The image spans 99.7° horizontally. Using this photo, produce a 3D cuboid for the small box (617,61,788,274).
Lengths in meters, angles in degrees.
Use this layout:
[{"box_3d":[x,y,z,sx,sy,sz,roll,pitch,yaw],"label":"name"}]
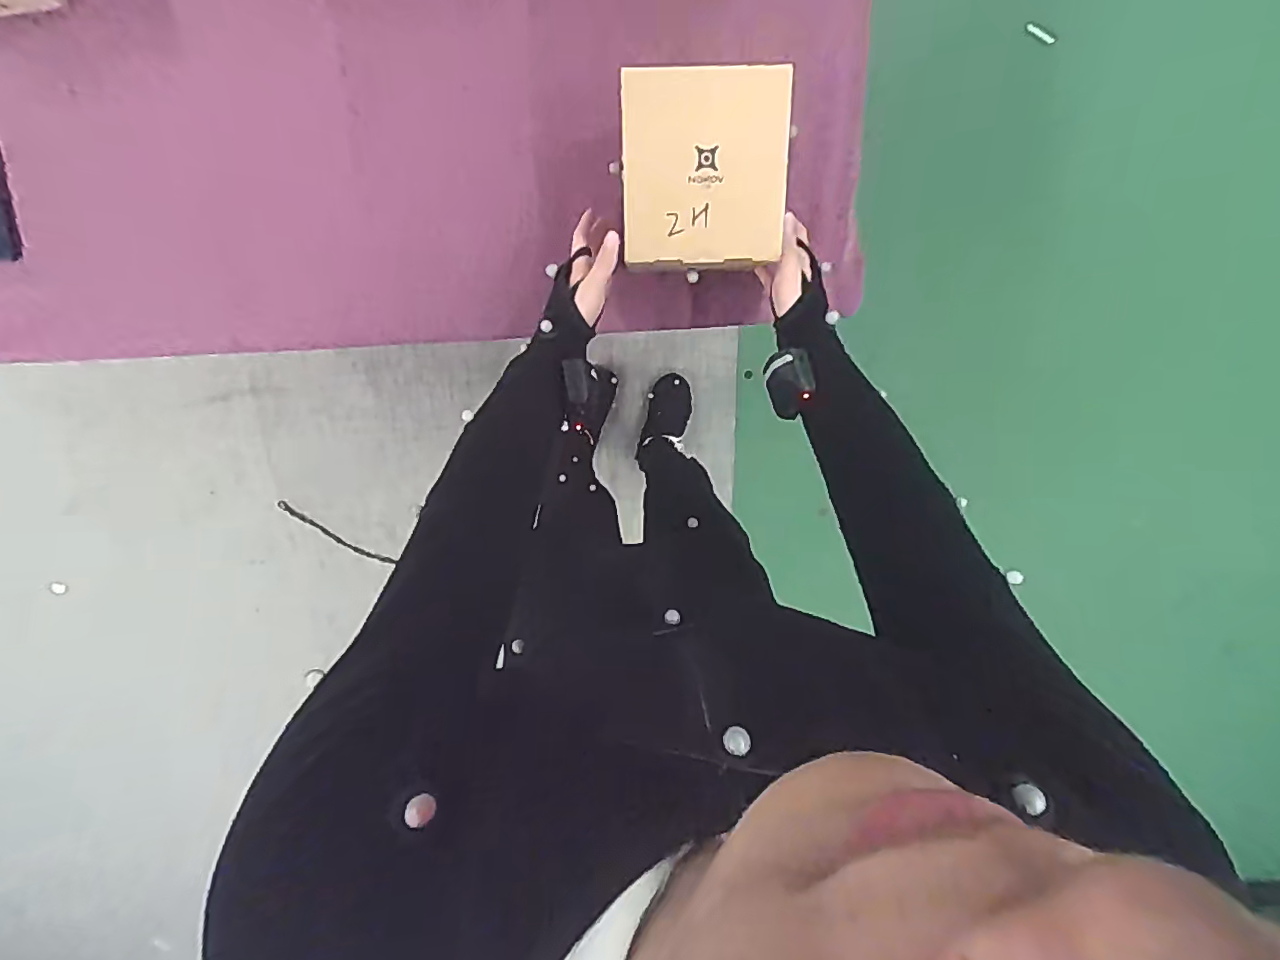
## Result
[{"box_3d":[0.058,-0.331,0.607,0.168,0.176,0.179,-1,108,1],"label":"small box"}]
